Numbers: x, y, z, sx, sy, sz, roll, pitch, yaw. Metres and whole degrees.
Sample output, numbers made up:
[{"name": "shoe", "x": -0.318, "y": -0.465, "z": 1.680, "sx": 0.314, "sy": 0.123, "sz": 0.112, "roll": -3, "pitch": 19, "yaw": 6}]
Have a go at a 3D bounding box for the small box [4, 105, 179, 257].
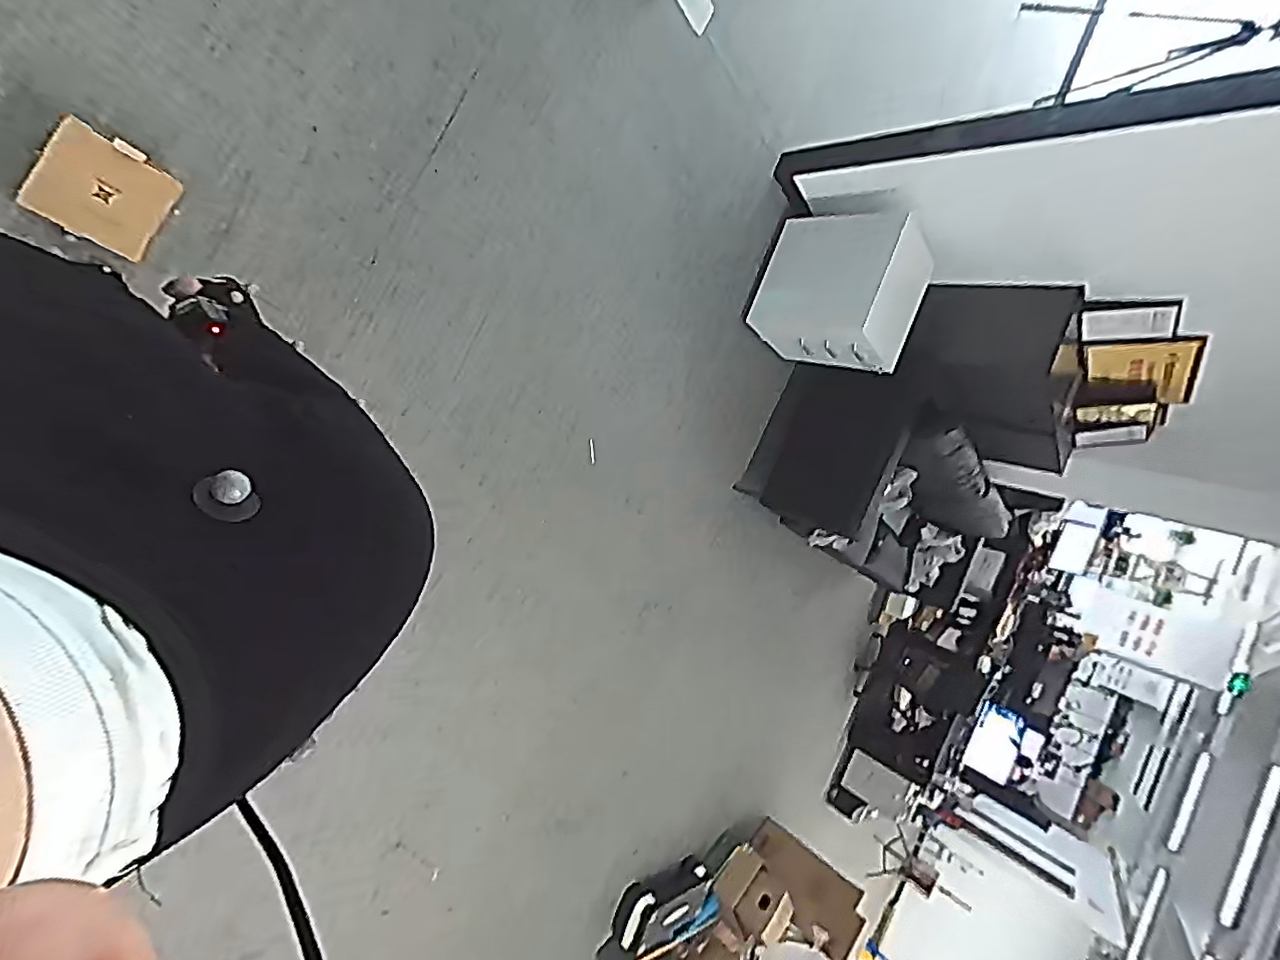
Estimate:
[{"name": "small box", "x": -0.999, "y": -0.536, "z": 0.994, "sx": 0.168, "sy": 0.176, "sz": 0.179, "roll": 34, "pitch": 81, "yaw": -44}]
